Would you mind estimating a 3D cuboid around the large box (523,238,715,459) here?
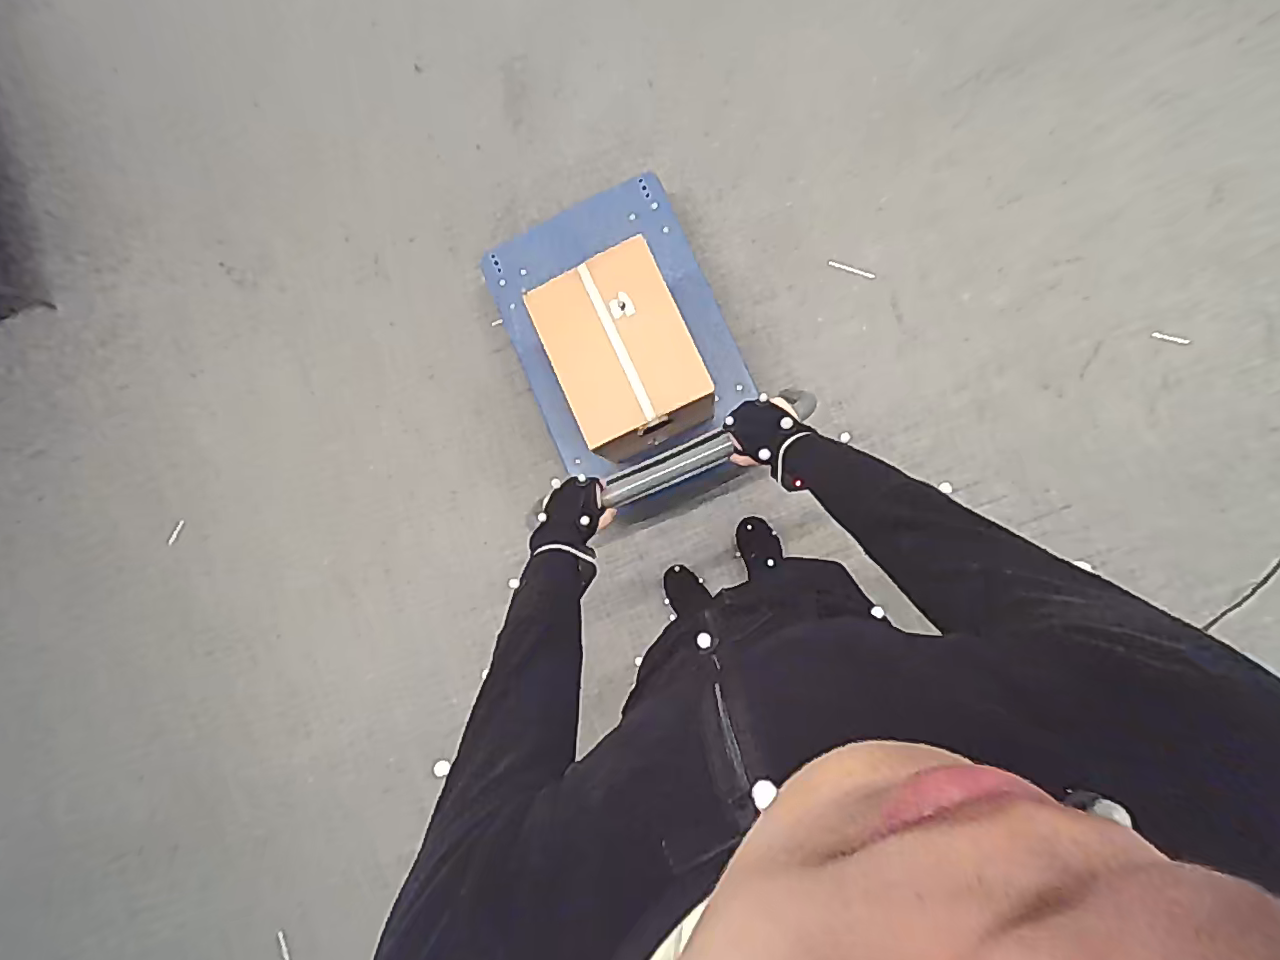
[{"bbox_3d":[-0.033,-0.305,1.377,0.320,0.320,0.408,-25,83,6],"label":"large box"}]
